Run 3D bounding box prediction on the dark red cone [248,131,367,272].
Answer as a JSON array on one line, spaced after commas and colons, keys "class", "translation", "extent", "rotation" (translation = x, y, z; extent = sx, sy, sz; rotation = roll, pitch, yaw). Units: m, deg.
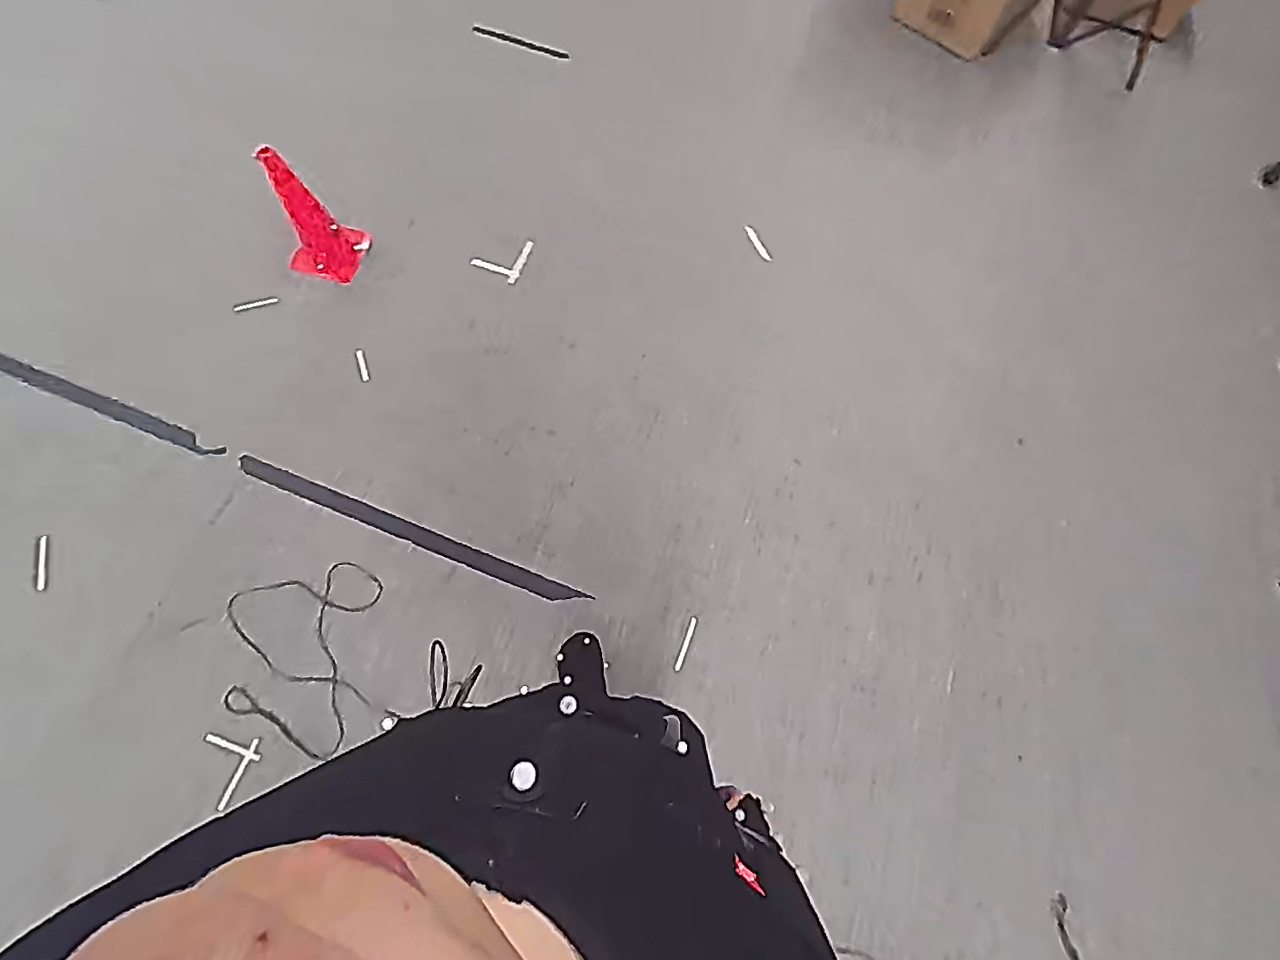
[{"class": "dark red cone", "translation": [-0.947, -0.779, 1.497], "extent": [0.202, 0.394, 0.201], "rotation": [14, 72, 1]}]
